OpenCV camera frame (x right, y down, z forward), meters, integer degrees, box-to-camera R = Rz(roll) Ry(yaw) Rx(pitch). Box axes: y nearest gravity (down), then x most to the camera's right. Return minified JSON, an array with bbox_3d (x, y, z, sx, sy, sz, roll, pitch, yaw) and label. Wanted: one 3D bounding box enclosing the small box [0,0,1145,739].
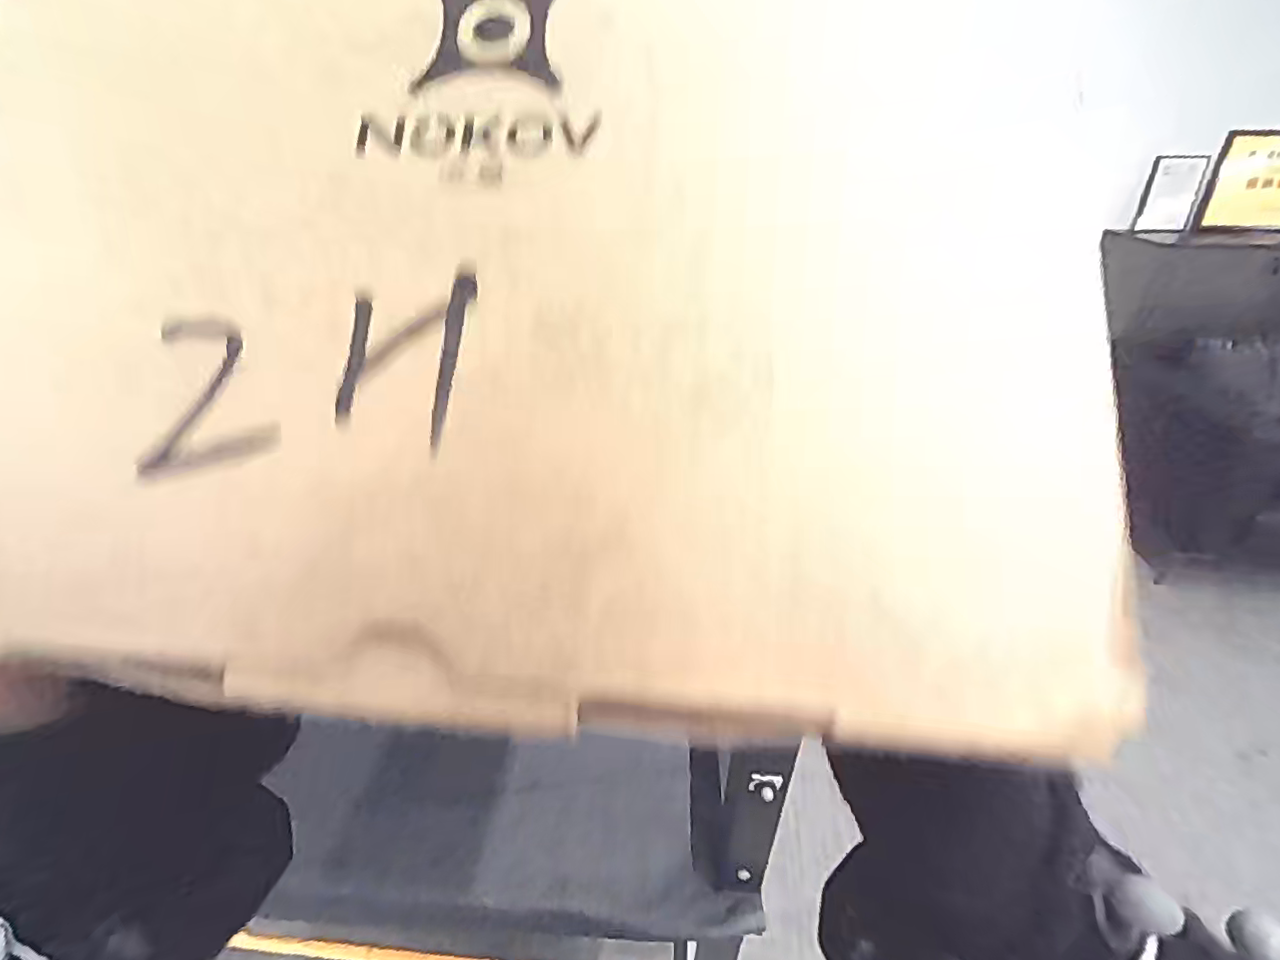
[{"bbox_3d":[-0.011,-0.044,0.163,0.168,0.179,0.176,4,-11,5],"label":"small box"}]
